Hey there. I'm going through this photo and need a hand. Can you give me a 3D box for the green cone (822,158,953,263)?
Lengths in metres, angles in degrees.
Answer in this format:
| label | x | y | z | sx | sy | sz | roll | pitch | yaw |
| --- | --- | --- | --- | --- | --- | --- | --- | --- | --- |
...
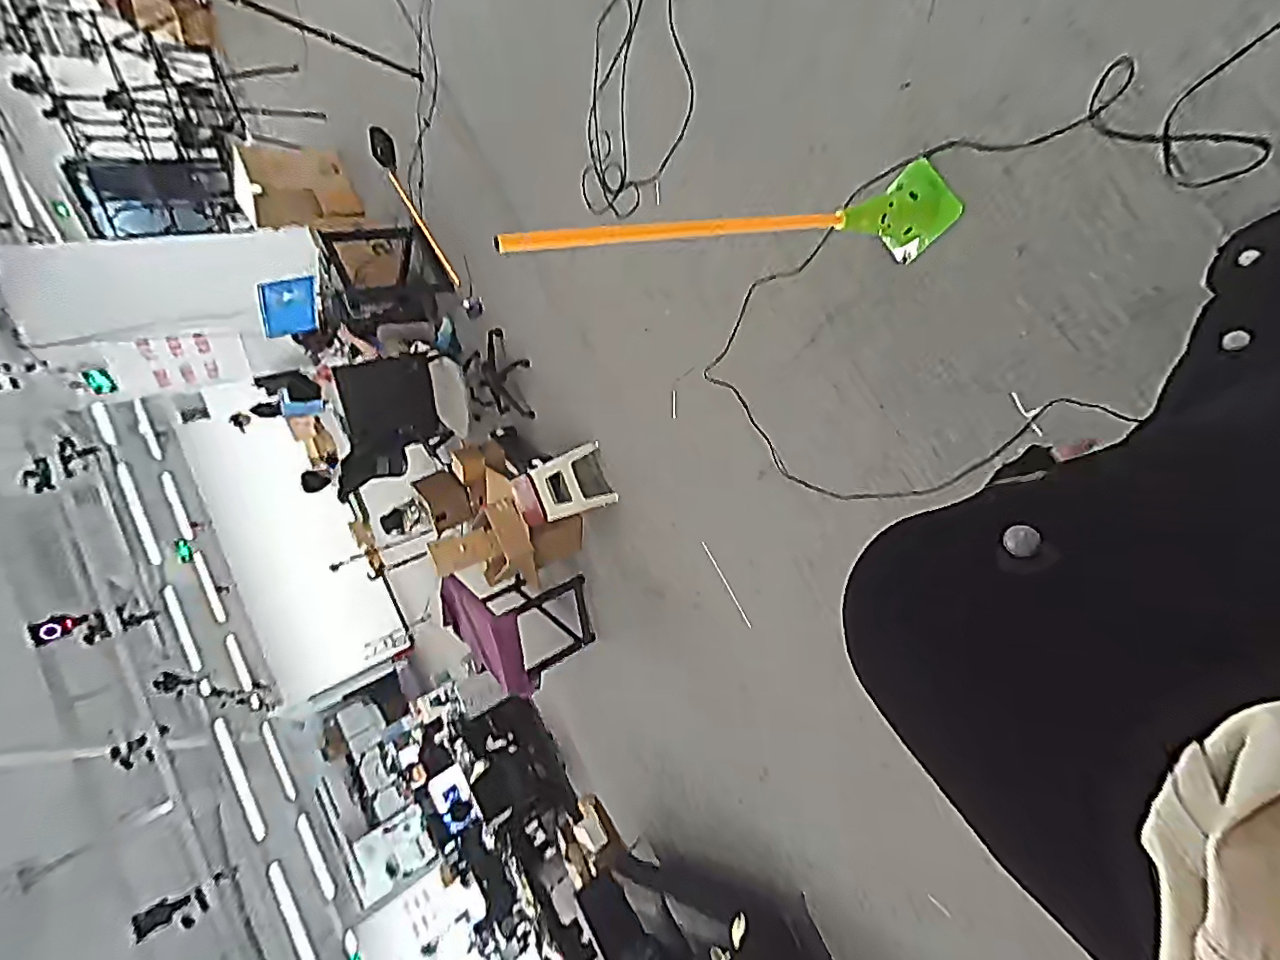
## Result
| label | x | y | z | sx | sy | sz | roll | pitch | yaw |
| --- | --- | --- | --- | --- | --- | --- | --- | --- | --- |
| green cone | 0.594 | -0.684 | 1.388 | 0.202 | 0.368 | 0.200 | 61 | 145 | 12 |
